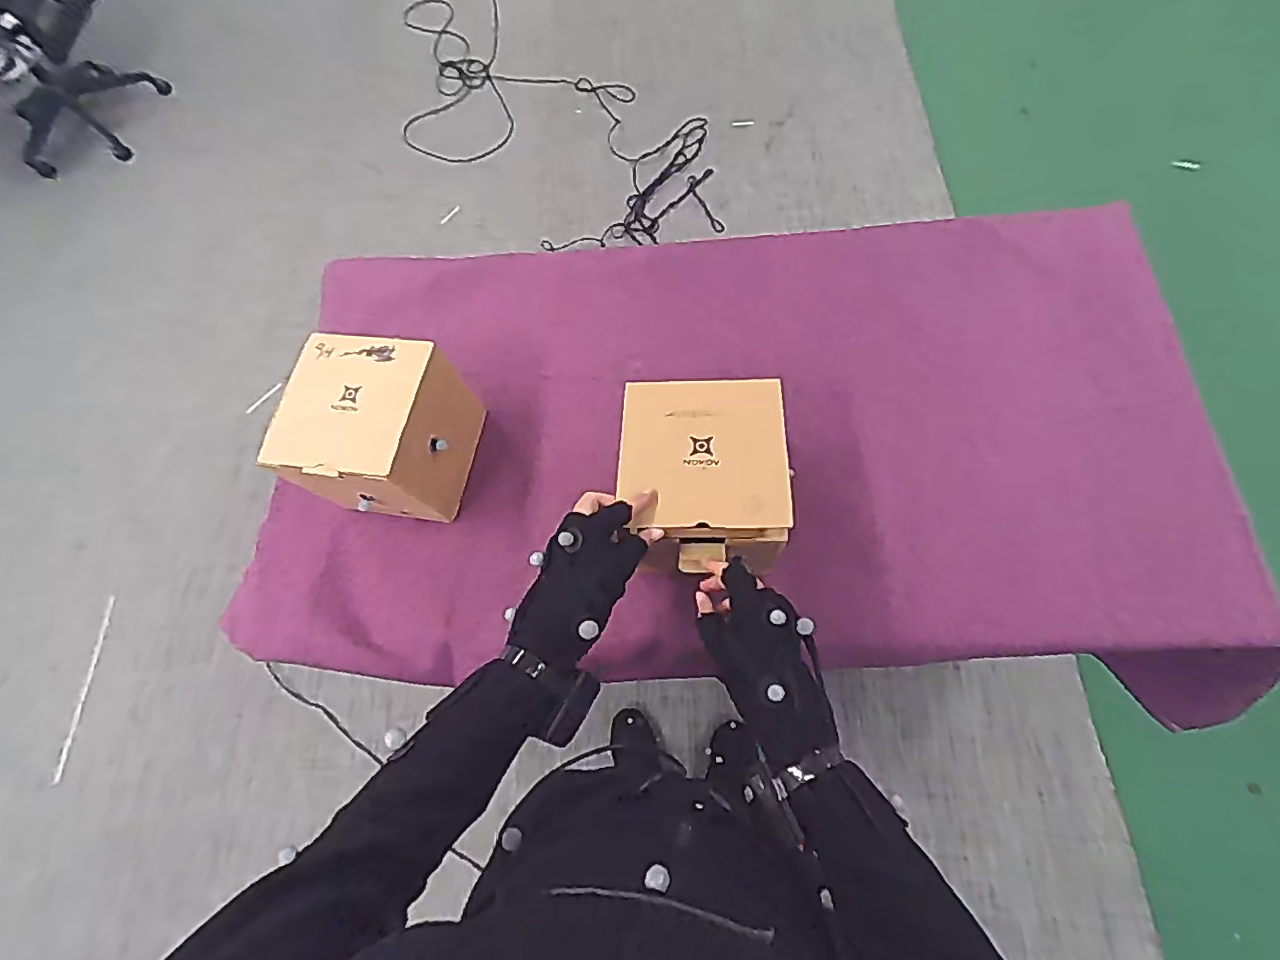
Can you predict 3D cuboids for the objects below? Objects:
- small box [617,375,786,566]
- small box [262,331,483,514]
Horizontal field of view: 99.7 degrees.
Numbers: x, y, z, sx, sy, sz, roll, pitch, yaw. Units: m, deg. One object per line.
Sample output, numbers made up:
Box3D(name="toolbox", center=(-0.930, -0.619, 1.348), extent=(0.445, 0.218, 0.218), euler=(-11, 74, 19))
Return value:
Box3D(name="small box", center=(0.072, -0.001, 0.619), extent=(0.168, 0.176, 0.179), euler=(0, 69, 7))
Box3D(name="small box", center=(-0.321, -0.064, 0.690), extent=(0.168, 0.176, 0.179), euler=(7, 71, 9))
